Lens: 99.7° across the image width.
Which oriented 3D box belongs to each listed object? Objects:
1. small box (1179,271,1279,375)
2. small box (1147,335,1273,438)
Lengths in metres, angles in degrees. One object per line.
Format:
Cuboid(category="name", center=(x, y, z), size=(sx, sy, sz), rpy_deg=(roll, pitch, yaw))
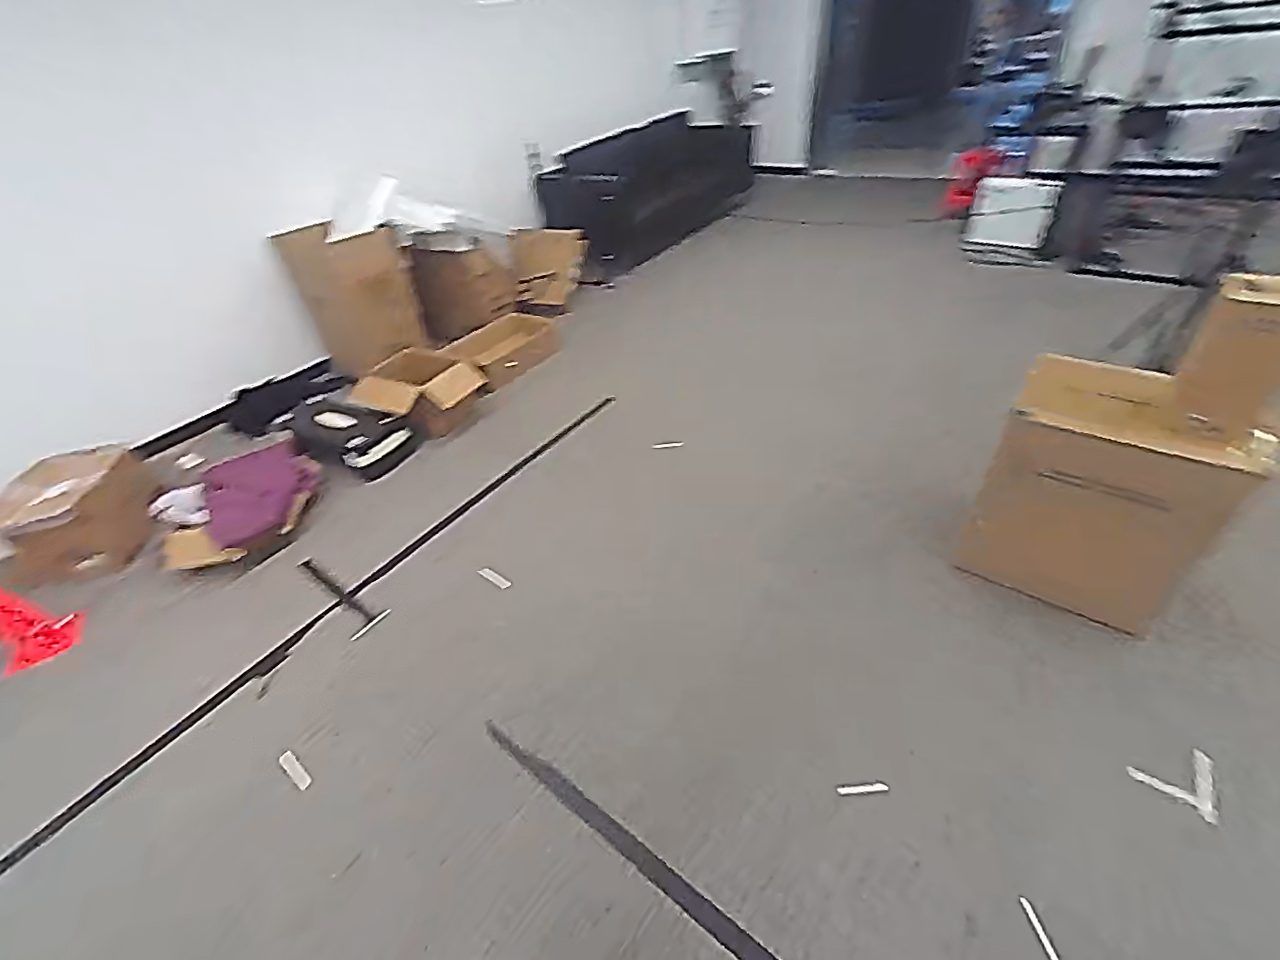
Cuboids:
Cuboid(category="small box", center=(1.370, -0.355, 1.222), size=(0.179, 0.176, 0.168), rpy_deg=(21, 49, 32))
Cuboid(category="small box", center=(1.390, -0.231, 1.329), size=(0.168, 0.176, 0.179), rpy_deg=(21, 49, 33))
